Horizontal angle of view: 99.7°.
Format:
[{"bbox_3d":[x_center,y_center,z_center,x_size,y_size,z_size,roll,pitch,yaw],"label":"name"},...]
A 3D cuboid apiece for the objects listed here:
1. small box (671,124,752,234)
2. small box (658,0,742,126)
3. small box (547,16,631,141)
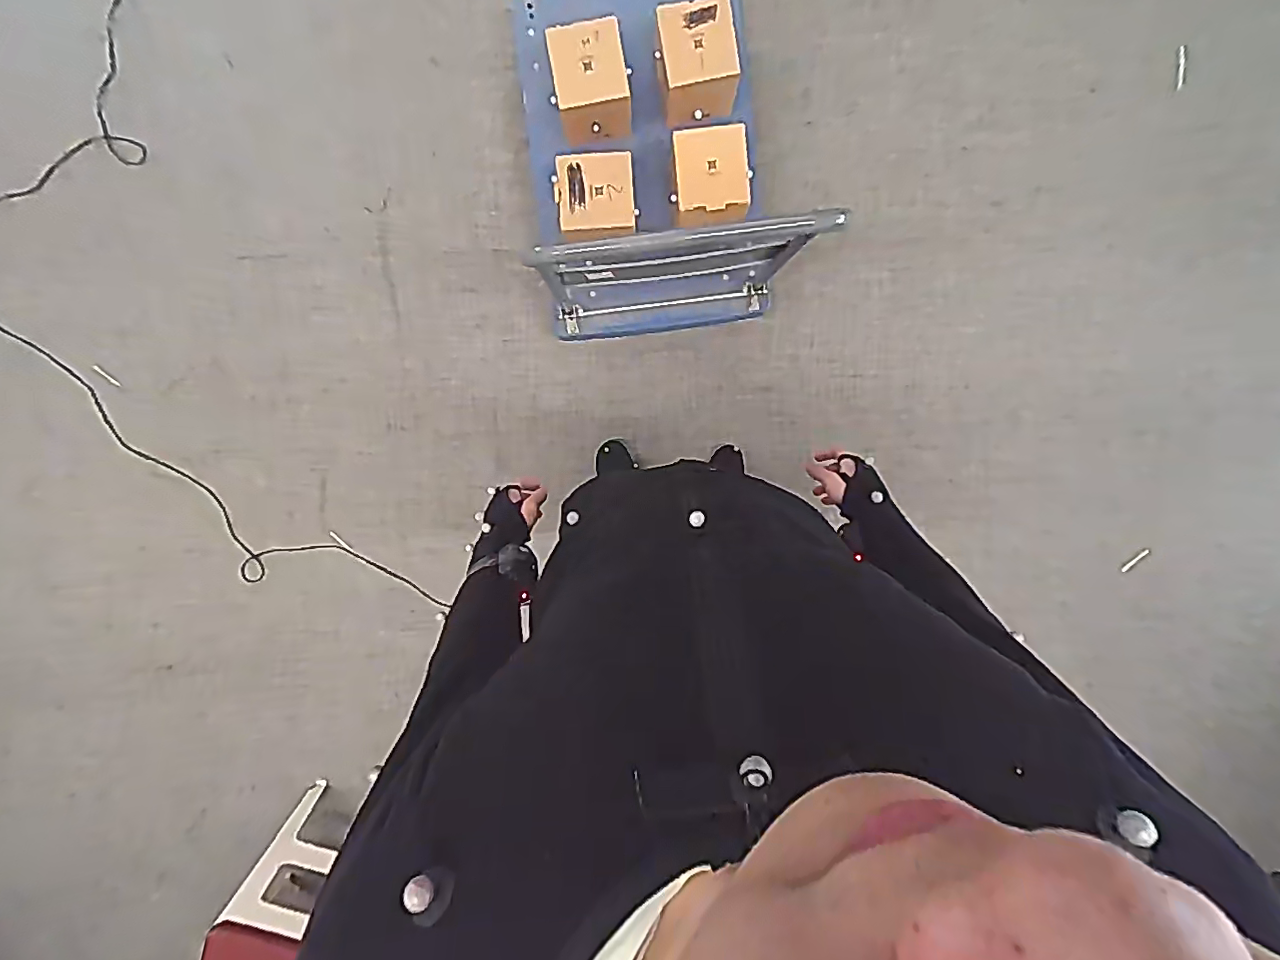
[{"bbox_3d":[0.168,-0.720,1.308,0.168,0.176,0.179,-6,96,1],"label":"small box"},{"bbox_3d":[0.135,-0.987,1.281,0.168,0.176,0.179,-10,96,2],"label":"small box"},{"bbox_3d":[-0.114,-0.940,1.288,0.168,0.176,0.179,-10,95,1],"label":"small box"}]
